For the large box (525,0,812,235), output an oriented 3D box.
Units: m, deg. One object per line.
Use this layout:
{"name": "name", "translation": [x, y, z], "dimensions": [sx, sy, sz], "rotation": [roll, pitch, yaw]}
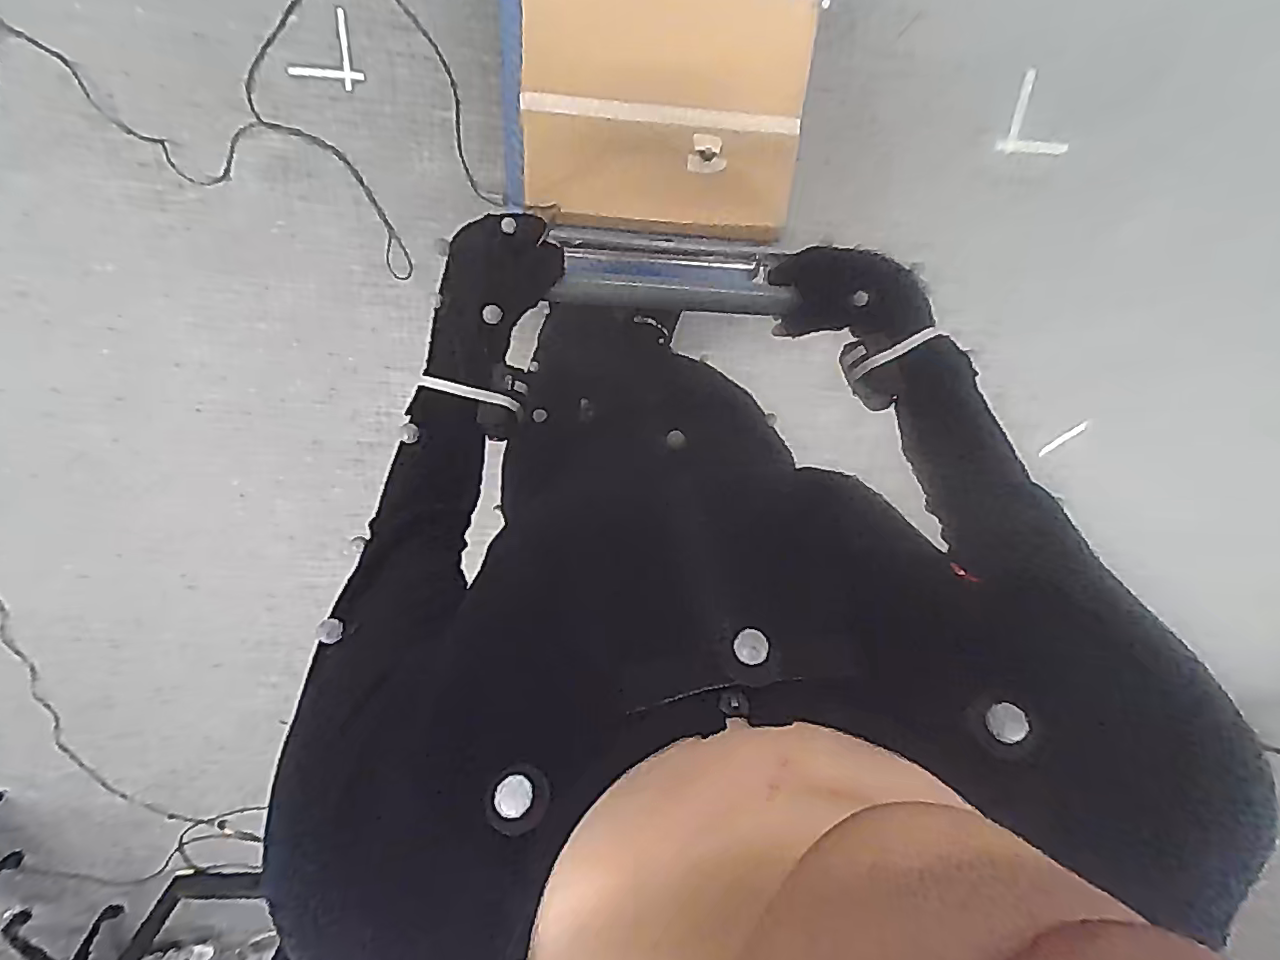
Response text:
{"name": "large box", "translation": [0.023, -0.603, 0.930], "dimensions": [0.408, 0.320, 0.320], "rotation": [2, 115, -6]}
